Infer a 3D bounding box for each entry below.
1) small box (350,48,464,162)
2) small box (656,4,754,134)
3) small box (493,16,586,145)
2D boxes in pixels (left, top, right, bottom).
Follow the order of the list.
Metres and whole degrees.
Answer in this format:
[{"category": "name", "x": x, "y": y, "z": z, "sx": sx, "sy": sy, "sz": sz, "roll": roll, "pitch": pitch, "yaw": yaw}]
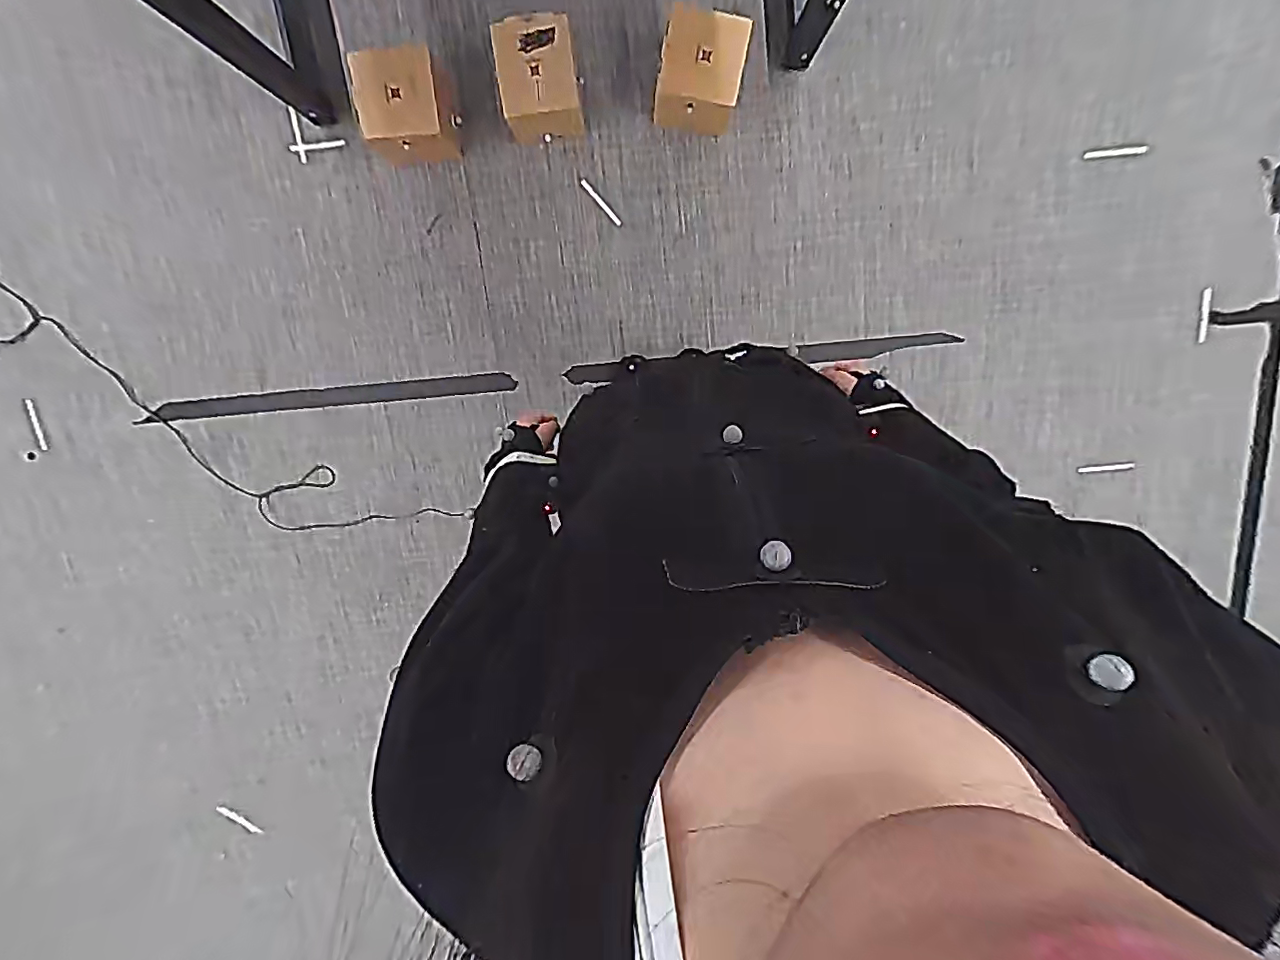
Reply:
[{"category": "small box", "x": -0.520, "y": -0.840, "z": 1.228, "sx": 0.179, "sy": 0.176, "sz": 0.168, "roll": -4, "pitch": 104, "yaw": 0}, {"category": "small box", "x": 0.138, "y": -0.908, "z": 1.215, "sx": 0.179, "sy": 0.176, "sz": 0.168, "roll": 11, "pitch": 103, "yaw": -2}, {"category": "small box", "x": -0.218, "y": -0.888, "z": 1.217, "sx": 0.168, "sy": 0.176, "sz": 0.179, "roll": -6, "pitch": 104, "yaw": 2}]
